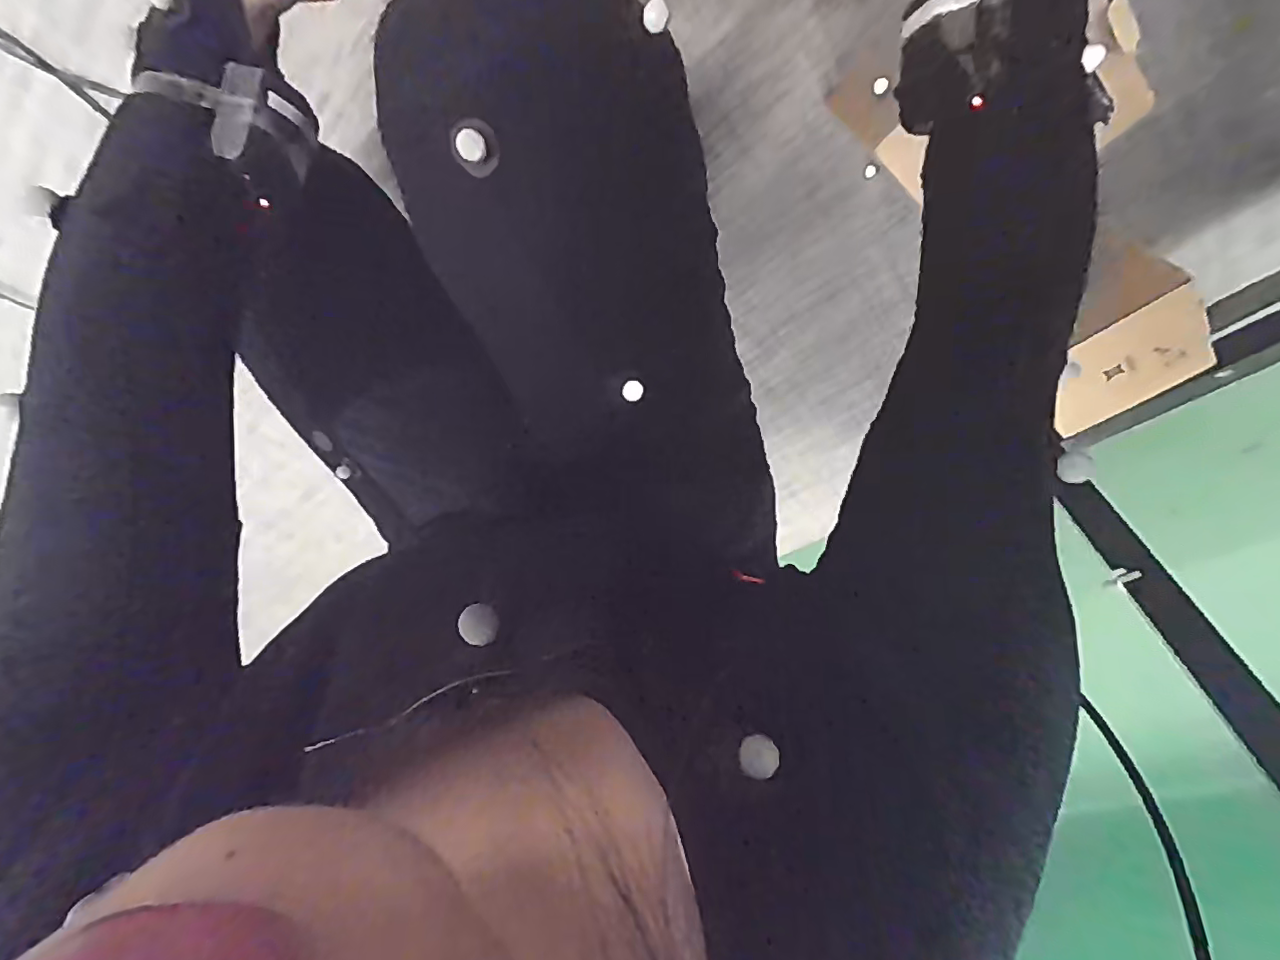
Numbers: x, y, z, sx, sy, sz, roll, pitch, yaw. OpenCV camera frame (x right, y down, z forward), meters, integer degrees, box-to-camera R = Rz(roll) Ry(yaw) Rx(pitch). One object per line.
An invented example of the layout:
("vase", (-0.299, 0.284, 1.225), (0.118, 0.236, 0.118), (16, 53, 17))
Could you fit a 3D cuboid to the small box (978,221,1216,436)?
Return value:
("small box", (0.587, -0.198, 0.719), (0.168, 0.176, 0.179), (32, 126, -32))
